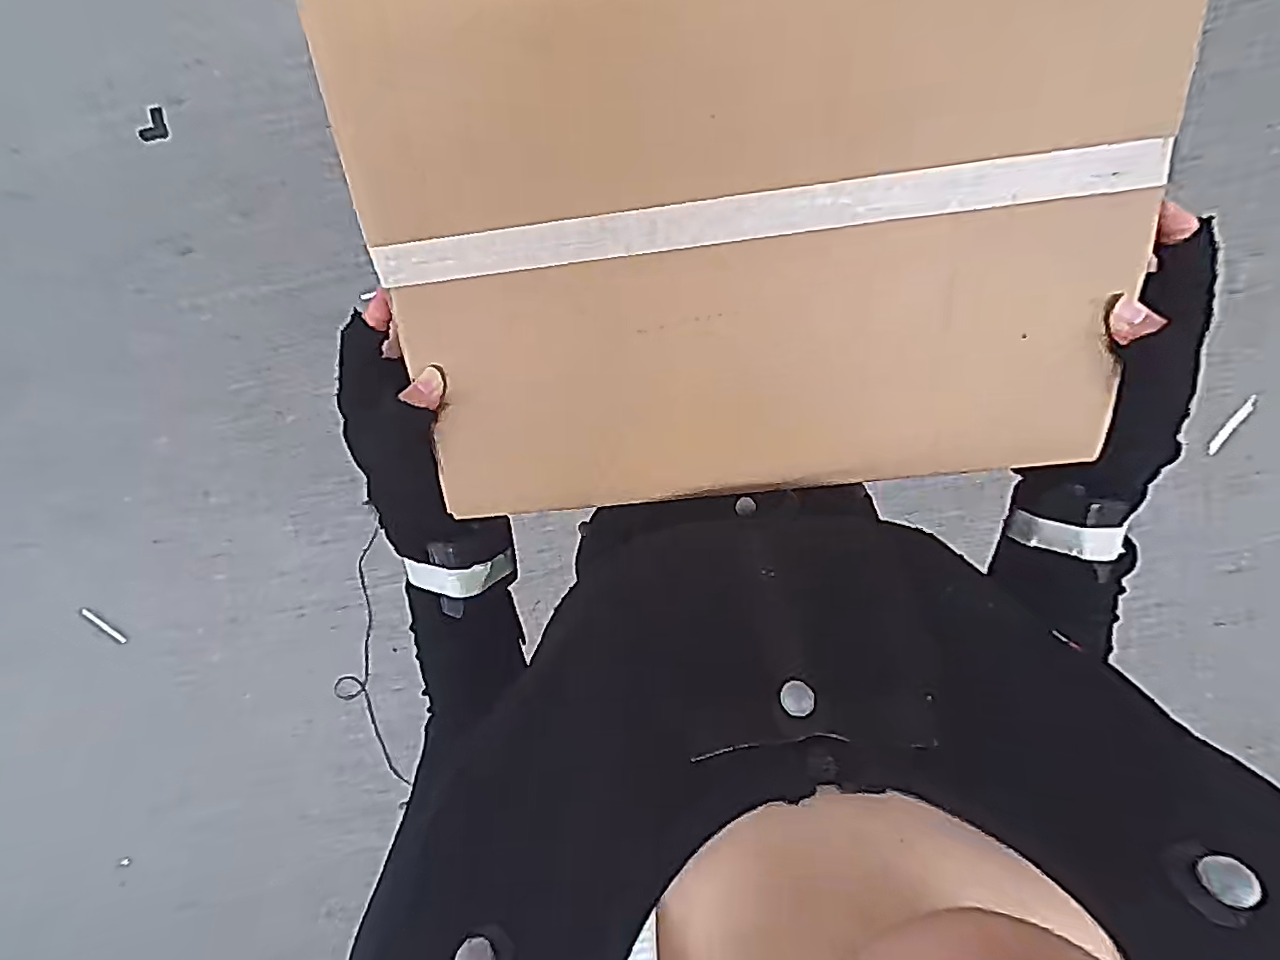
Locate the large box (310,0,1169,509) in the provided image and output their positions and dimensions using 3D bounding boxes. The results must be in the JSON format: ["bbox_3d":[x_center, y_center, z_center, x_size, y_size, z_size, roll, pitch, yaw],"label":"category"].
[{"bbox_3d":[0.056,-0.200,0.427,0.408,0.320,0.320,-6,114,4],"label":"large box"}]
